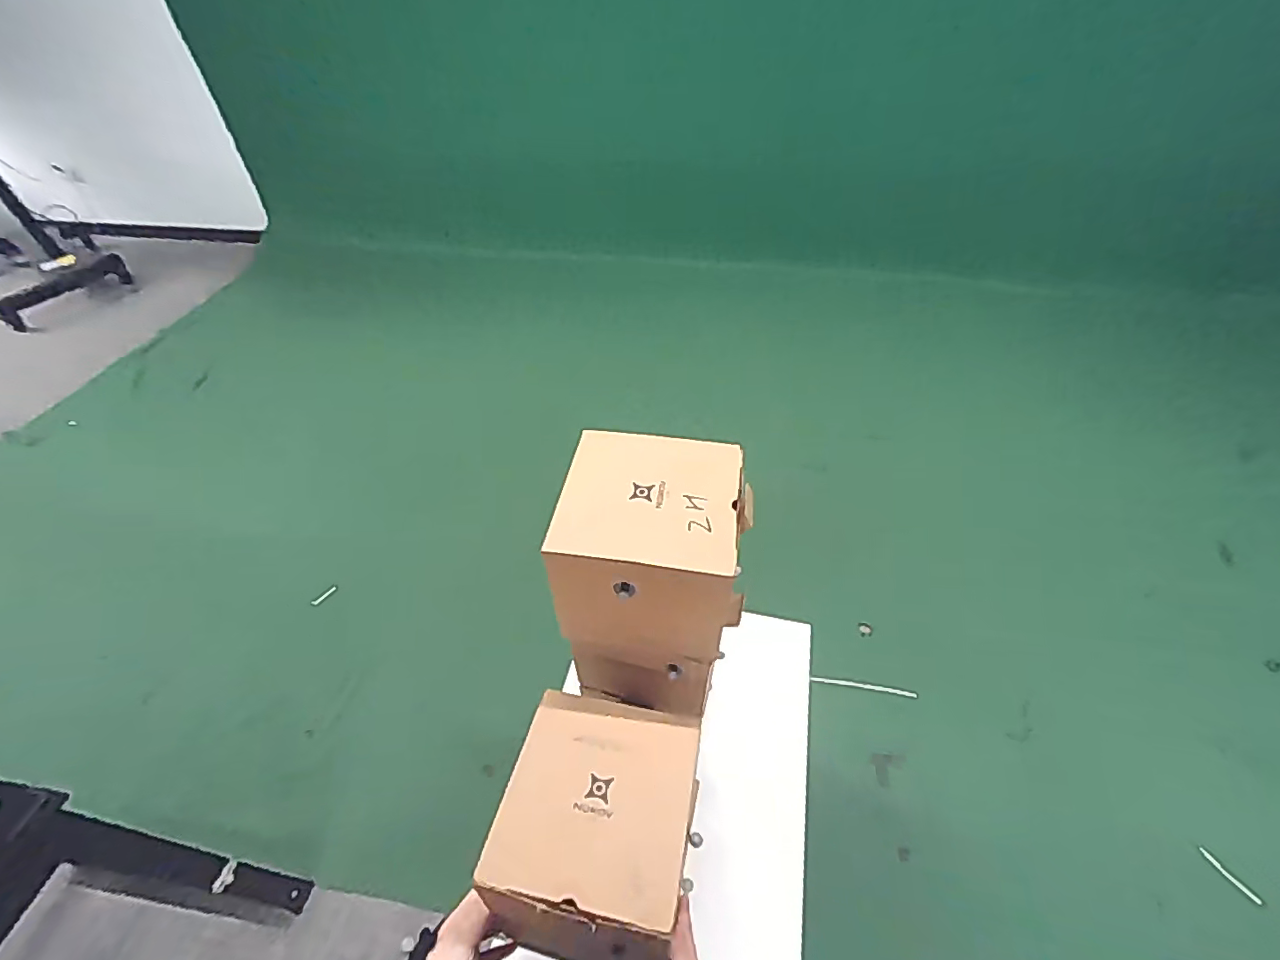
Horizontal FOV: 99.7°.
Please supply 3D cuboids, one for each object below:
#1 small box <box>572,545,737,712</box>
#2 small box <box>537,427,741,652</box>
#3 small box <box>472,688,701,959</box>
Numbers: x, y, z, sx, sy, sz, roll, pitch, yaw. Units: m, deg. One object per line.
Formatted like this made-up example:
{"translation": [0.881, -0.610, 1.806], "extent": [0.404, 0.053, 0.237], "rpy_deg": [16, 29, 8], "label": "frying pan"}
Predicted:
{"translation": [0.017, 0.174, 0.700], "extent": [0.179, 0.176, 0.168], "rpy_deg": [12, 48, 11], "label": "small box"}
{"translation": [0.008, 0.065, 0.577], "extent": [0.179, 0.176, 0.168], "rpy_deg": [7, 48, 7], "label": "small box"}
{"translation": [-0.036, 0.337, 0.523], "extent": [0.168, 0.176, 0.179], "rpy_deg": [8, 38, 9], "label": "small box"}
